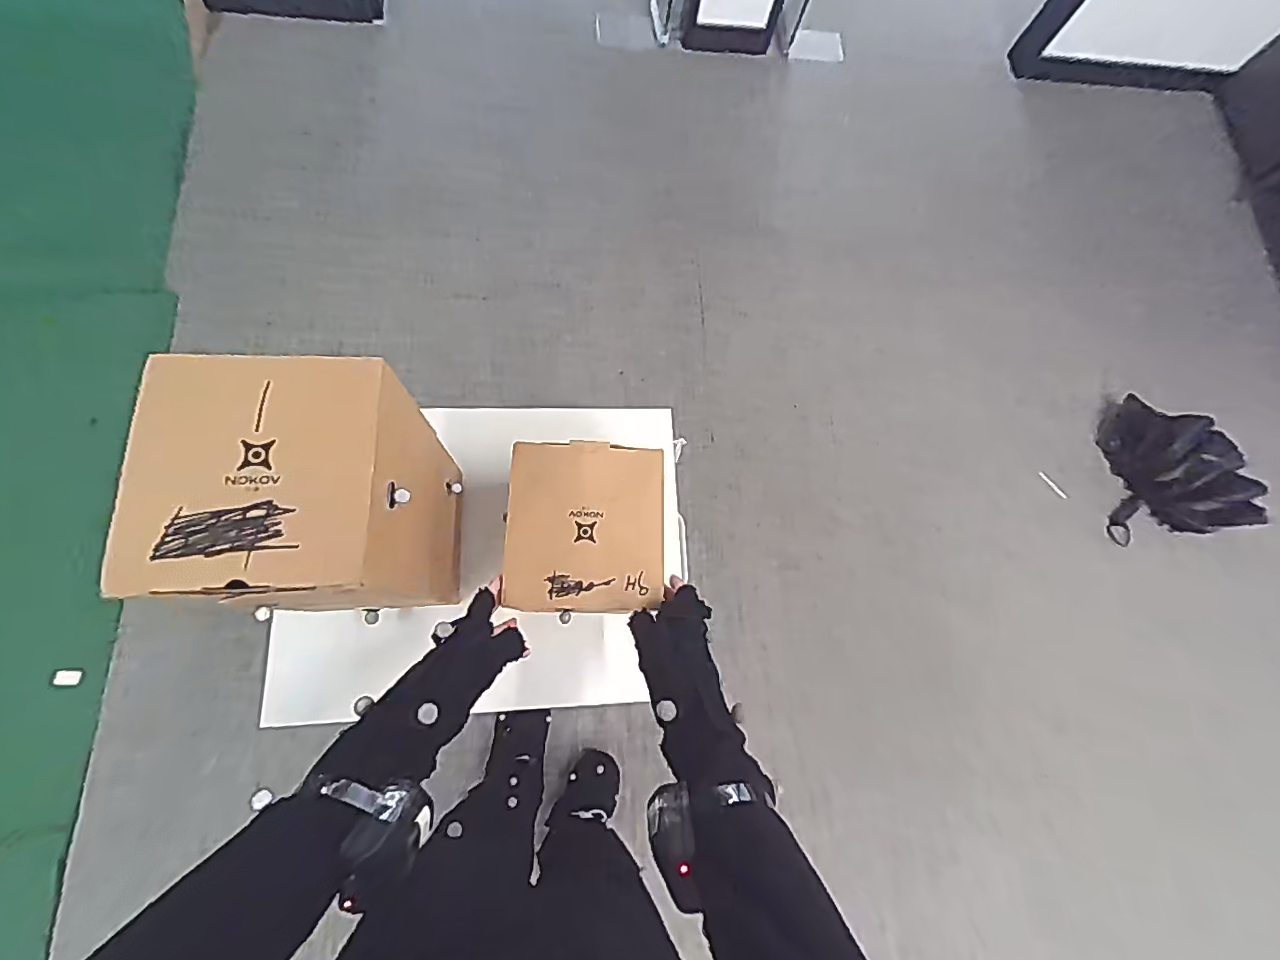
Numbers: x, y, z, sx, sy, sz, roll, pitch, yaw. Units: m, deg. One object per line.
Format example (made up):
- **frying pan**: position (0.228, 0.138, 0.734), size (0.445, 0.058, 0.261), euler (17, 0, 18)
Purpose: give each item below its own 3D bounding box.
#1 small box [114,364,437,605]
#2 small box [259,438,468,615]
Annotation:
- **small box**: position (-0.283, 0.017, 0.469), size (0.168, 0.176, 0.179), euler (0, 74, -7)
- **small box**: position (-0.301, 0.061, 0.627), size (0.168, 0.176, 0.179), euler (-3, 76, -7)
